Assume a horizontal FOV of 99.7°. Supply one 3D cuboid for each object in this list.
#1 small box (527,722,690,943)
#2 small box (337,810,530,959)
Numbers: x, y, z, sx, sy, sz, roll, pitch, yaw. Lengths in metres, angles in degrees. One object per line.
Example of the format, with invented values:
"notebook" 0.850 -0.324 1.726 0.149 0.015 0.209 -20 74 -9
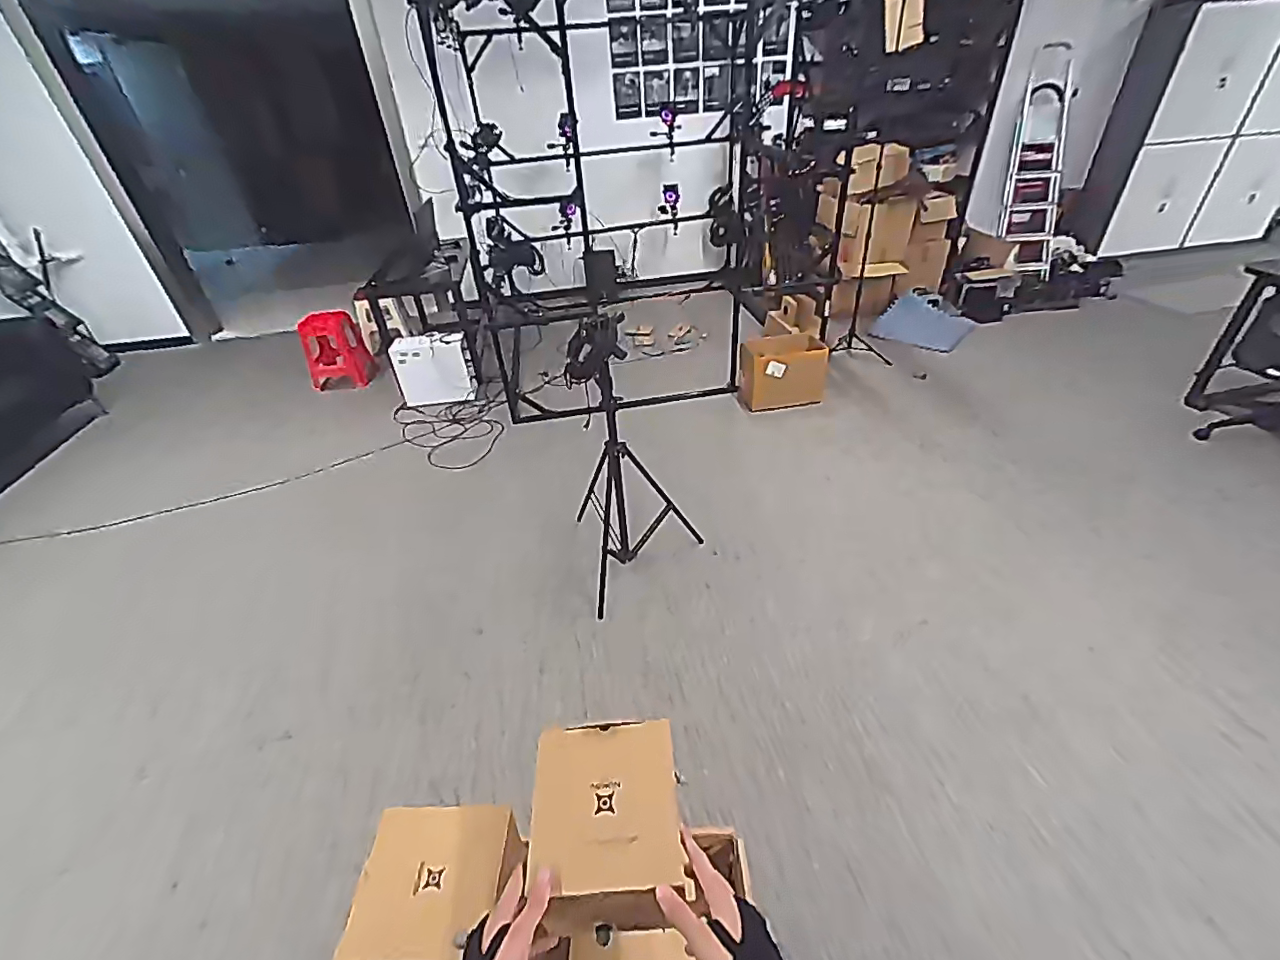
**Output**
"small box" -0.030 0.423 0.655 0.168 0.176 0.179 -6 38 1
"small box" -0.250 0.556 0.706 0.179 0.176 0.168 -2 35 1
